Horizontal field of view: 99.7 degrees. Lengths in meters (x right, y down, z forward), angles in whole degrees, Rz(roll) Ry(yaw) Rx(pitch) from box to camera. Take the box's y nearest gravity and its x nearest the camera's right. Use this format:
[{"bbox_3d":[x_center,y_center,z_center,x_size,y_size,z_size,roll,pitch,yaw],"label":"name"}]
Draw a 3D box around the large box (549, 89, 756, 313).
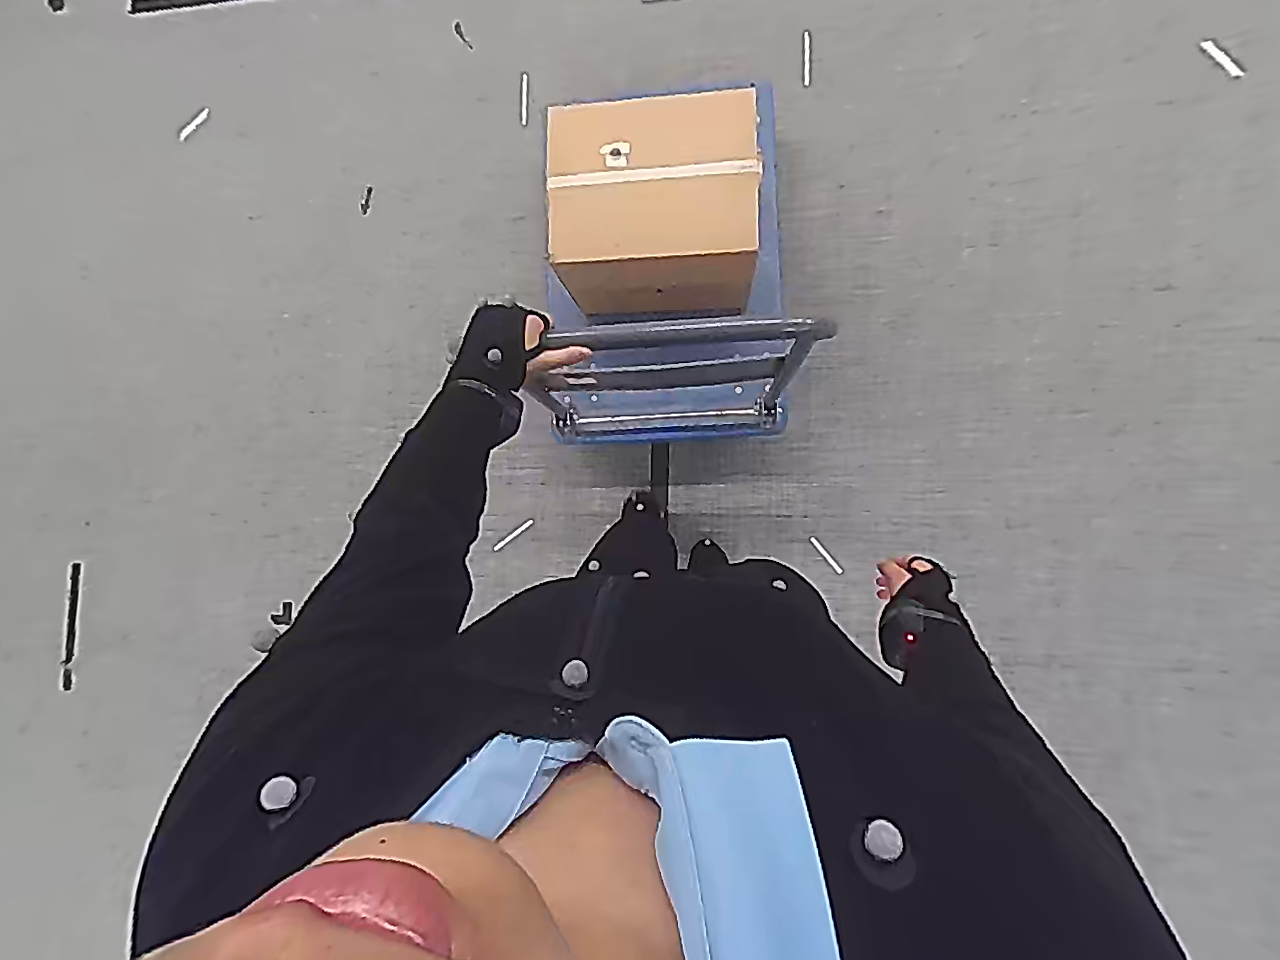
[{"bbox_3d":[0.039,-0.579,1.192,0.408,0.320,0.320,-1,87,8],"label":"large box"}]
